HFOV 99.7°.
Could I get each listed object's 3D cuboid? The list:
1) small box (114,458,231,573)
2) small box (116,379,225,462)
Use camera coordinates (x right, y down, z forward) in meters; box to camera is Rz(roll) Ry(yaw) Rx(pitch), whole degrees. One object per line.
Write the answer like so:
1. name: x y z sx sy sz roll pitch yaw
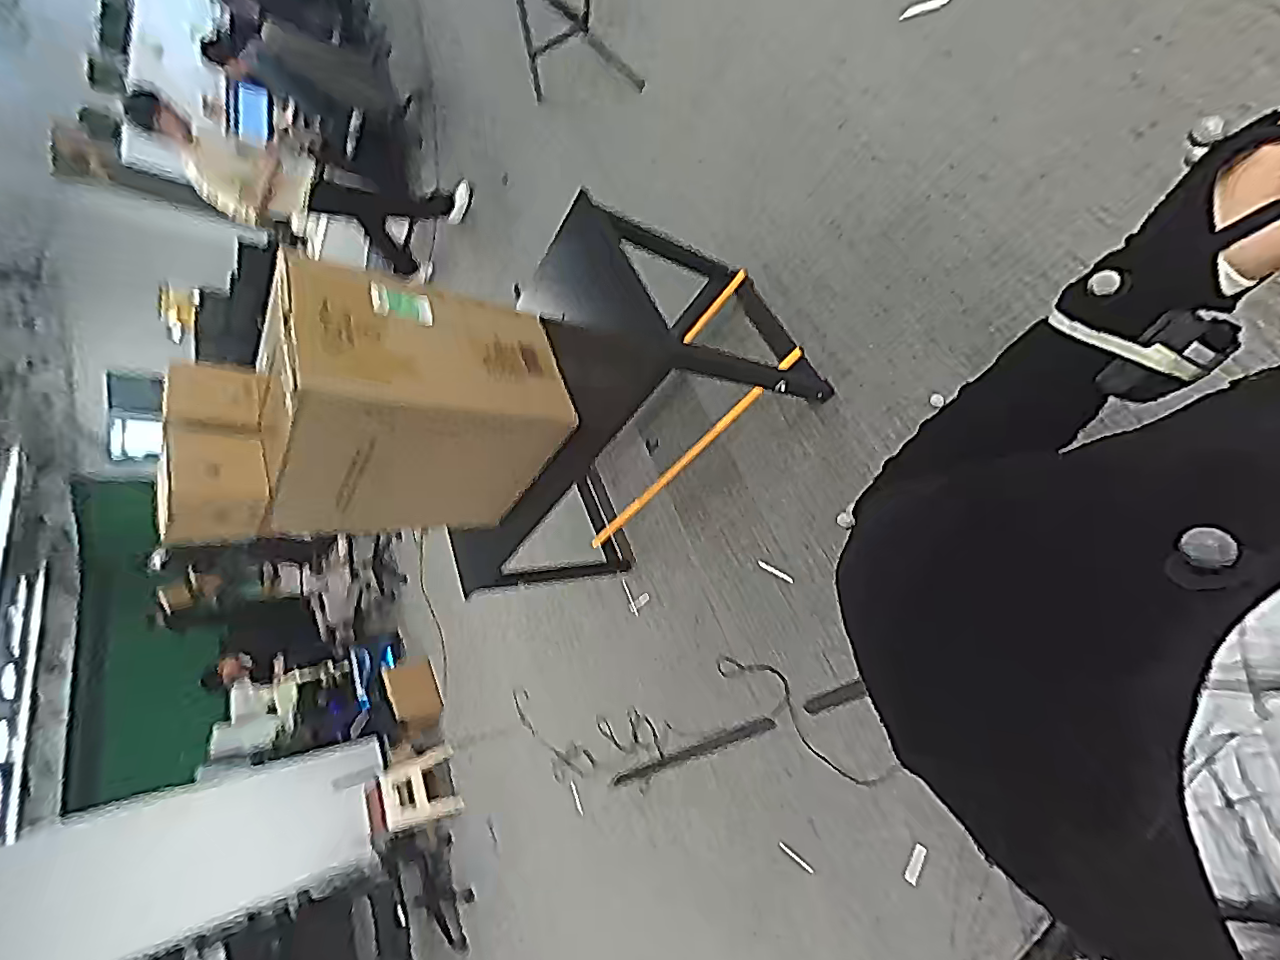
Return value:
1. small box: -0.972 0.069 1.124 0.168 0.176 0.179 -48 59 32
2. small box: -1.052 -0.098 1.217 0.179 0.176 0.168 -43 57 37
